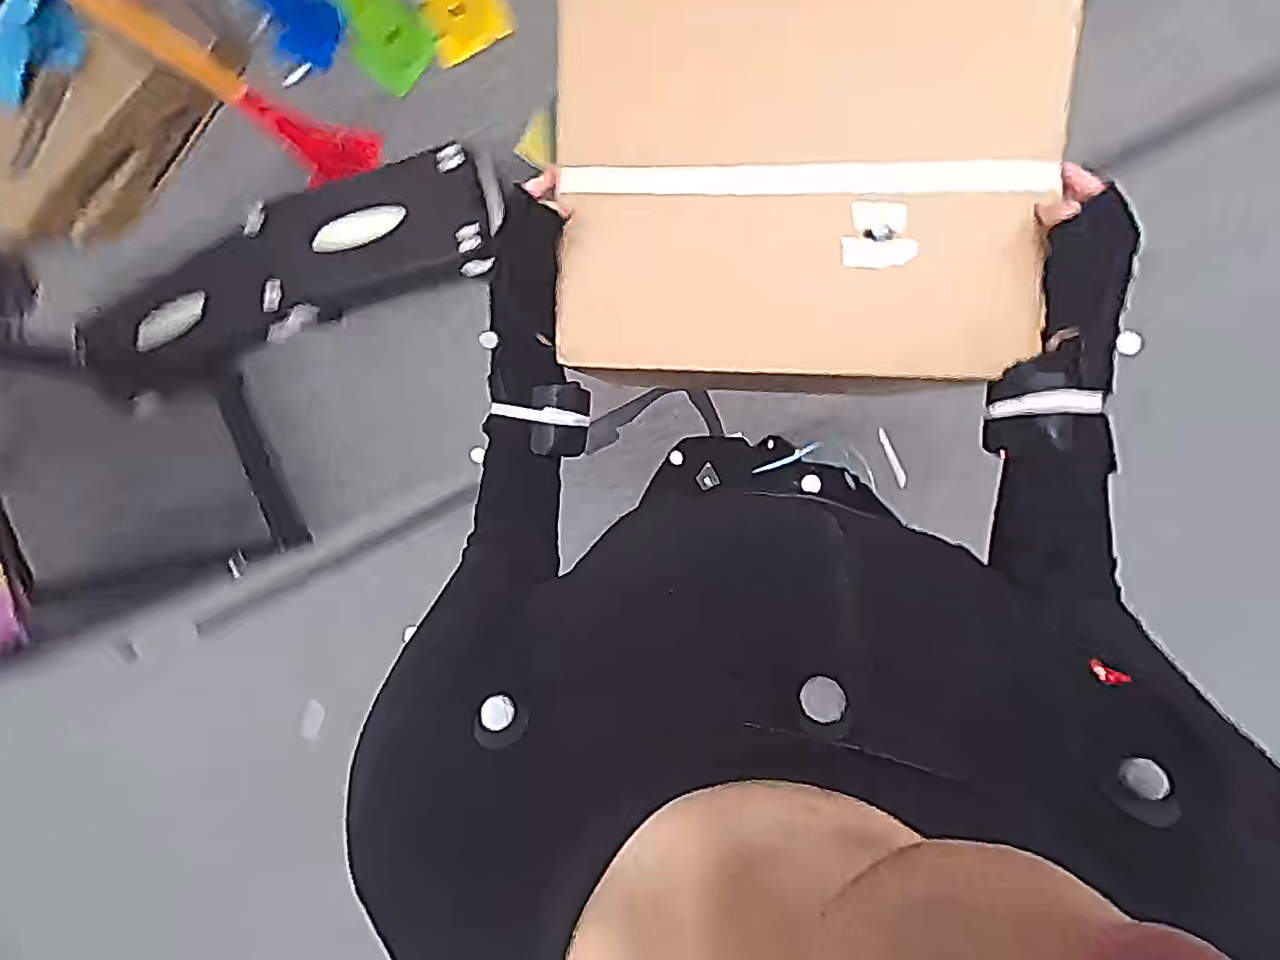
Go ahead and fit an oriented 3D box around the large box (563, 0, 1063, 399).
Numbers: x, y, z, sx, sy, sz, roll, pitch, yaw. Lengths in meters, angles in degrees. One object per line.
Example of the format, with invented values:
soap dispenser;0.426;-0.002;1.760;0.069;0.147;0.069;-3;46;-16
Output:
large box;0.143;-0.258;0.609;0.408;0.320;0.320;4;98;4
